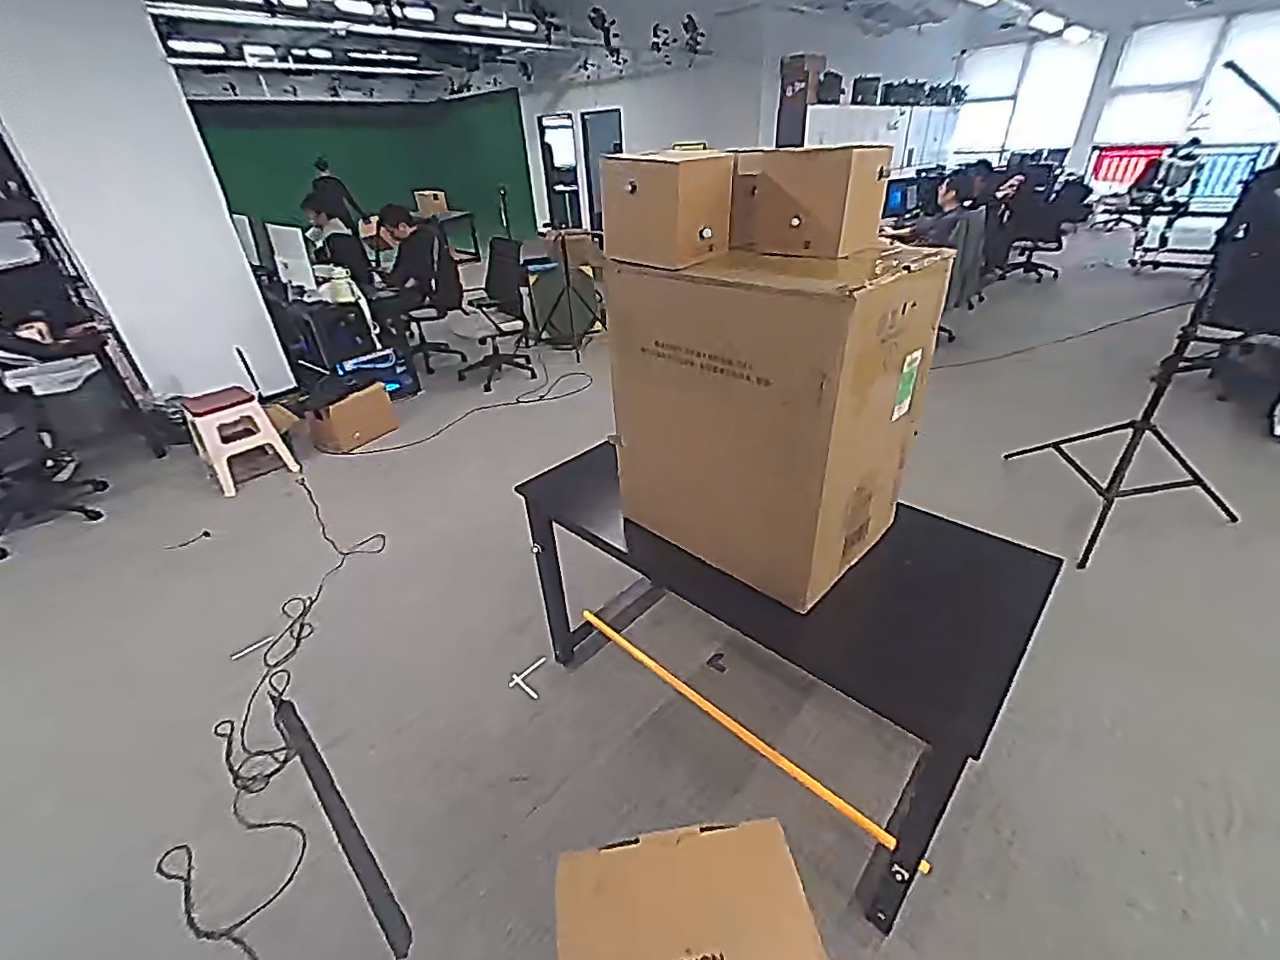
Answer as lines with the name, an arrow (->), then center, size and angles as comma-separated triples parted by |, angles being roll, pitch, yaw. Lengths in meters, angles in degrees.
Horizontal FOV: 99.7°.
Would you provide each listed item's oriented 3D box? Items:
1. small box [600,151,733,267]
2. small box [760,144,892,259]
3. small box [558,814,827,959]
small box -> 0.046, -0.494, 0.982 | 0.179, 0.176, 0.168 | 26, 43, 33
small box -> 0.331, -0.509, 0.984 | 0.168, 0.176, 0.179 | 22, 38, 36
small box -> 0.030, 0.364, 0.365 | 0.168, 0.176, 0.179 | -3, 38, -9
